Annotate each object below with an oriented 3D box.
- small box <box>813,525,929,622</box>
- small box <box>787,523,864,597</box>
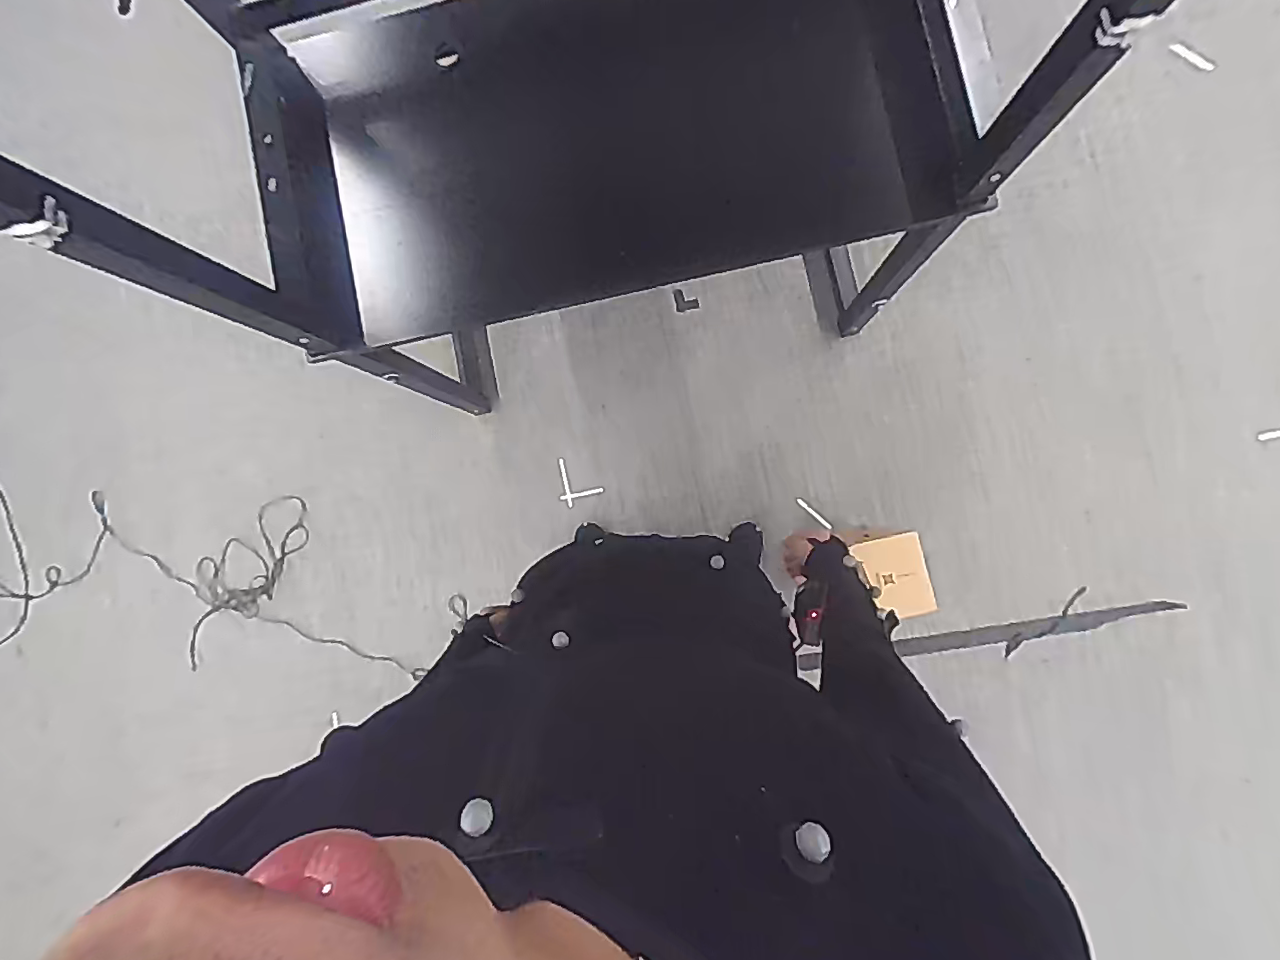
[{"bbox_3d":[0.487,0.197,1.173,0.179,0.176,0.168,-13,88,4],"label":"small box"},{"bbox_3d":[0.524,0.215,1.500,0.179,0.176,0.168,-12,87,5],"label":"small box"}]
